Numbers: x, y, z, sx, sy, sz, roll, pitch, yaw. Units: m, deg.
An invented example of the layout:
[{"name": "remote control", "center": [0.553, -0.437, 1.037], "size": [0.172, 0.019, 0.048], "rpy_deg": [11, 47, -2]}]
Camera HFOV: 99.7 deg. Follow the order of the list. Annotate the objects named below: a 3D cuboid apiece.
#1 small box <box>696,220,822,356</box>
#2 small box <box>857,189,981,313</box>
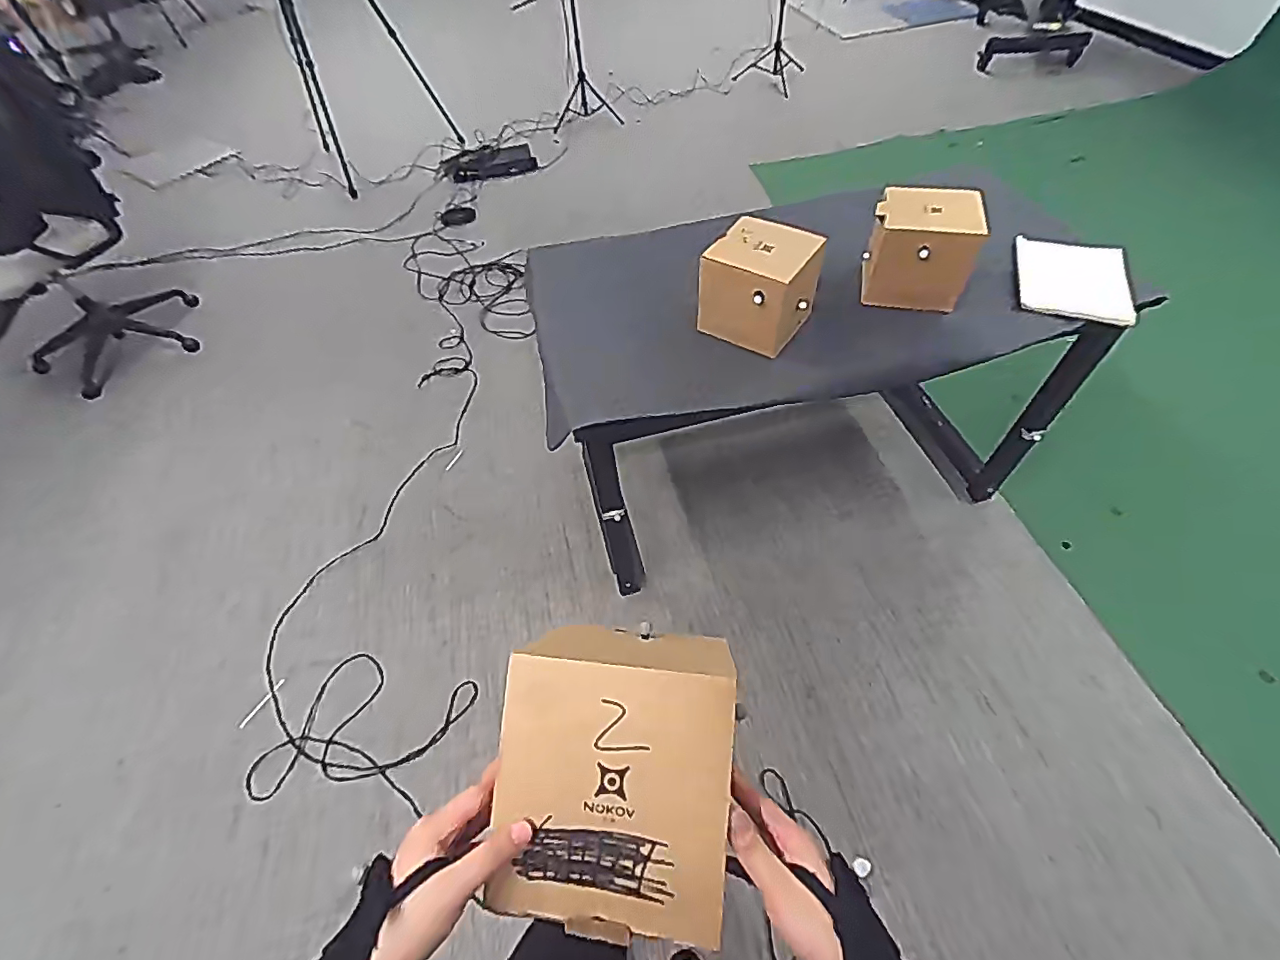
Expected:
[{"name": "small box", "center": [0.224, -0.368, 1.048], "size": [0.179, 0.176, 0.168], "rpy_deg": [28, 60, 23]}, {"name": "small box", "center": [0.554, -0.458, 1.090], "size": [0.179, 0.176, 0.168], "rpy_deg": [9, 55, 13]}]
